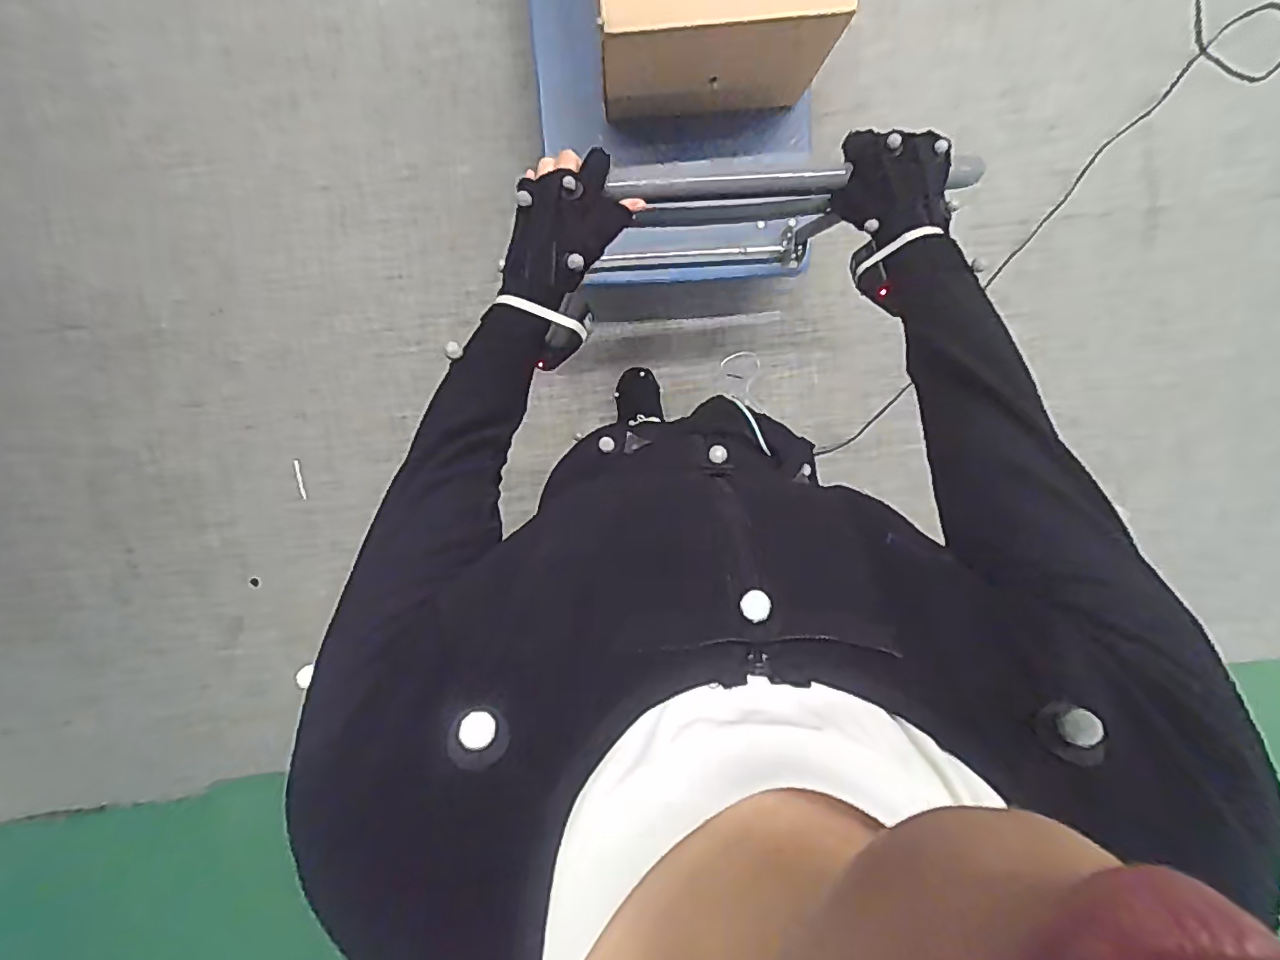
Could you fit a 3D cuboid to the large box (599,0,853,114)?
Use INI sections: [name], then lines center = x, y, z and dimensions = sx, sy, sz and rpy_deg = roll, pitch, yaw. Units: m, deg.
[large box]
center = 0.125, -0.911, 0.969
dimensions = 0.408, 0.320, 0.320
rpy_deg = -6, 102, 1
